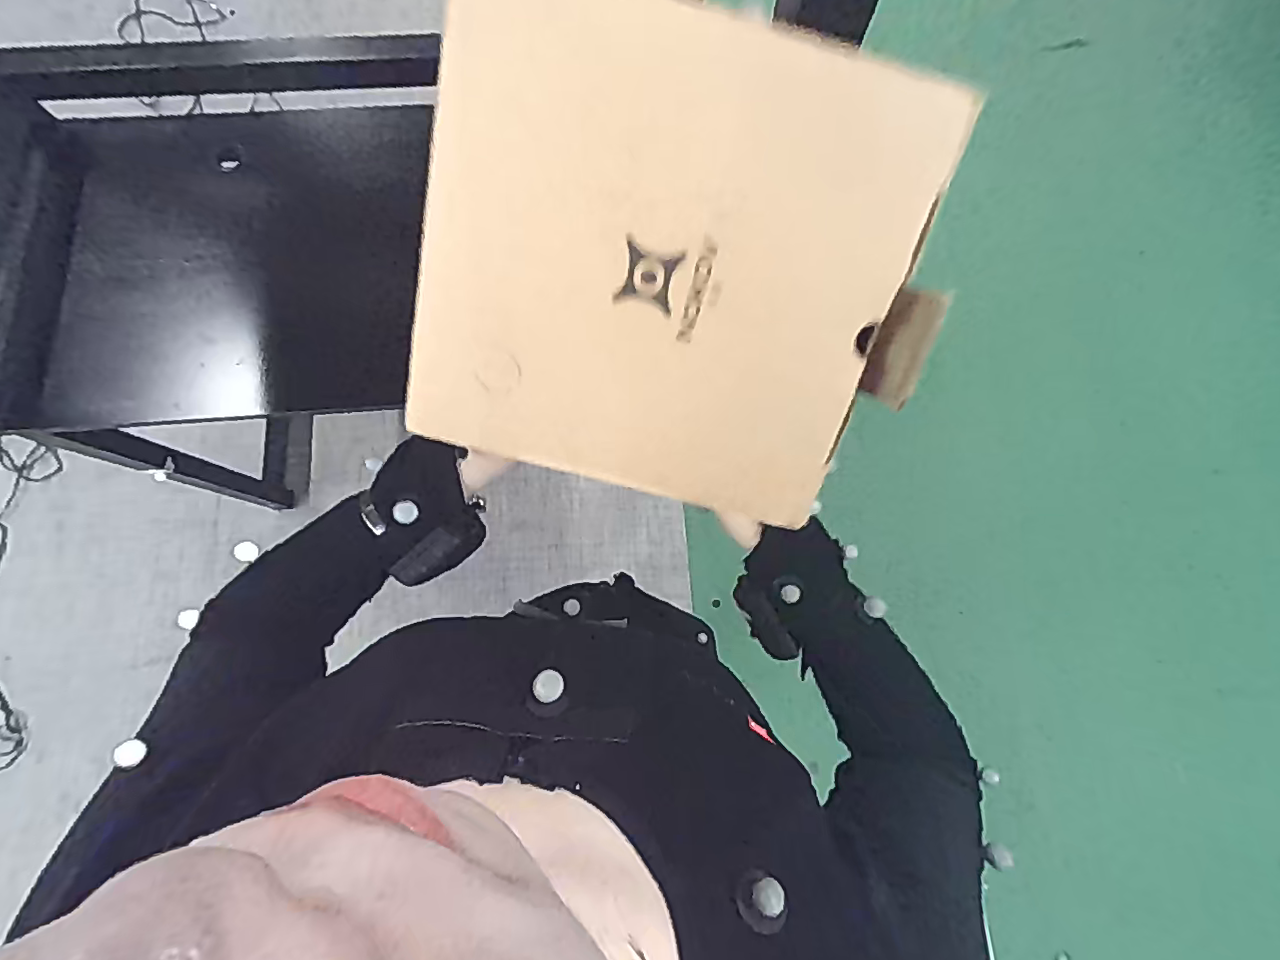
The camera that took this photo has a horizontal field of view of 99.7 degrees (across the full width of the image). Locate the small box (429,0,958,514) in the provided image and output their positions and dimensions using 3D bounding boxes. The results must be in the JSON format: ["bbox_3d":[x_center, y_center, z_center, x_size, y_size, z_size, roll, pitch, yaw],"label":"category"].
[{"bbox_3d":[0.012,-0.106,0.290,0.179,0.176,0.168,14,111,-5],"label":"small box"}]
